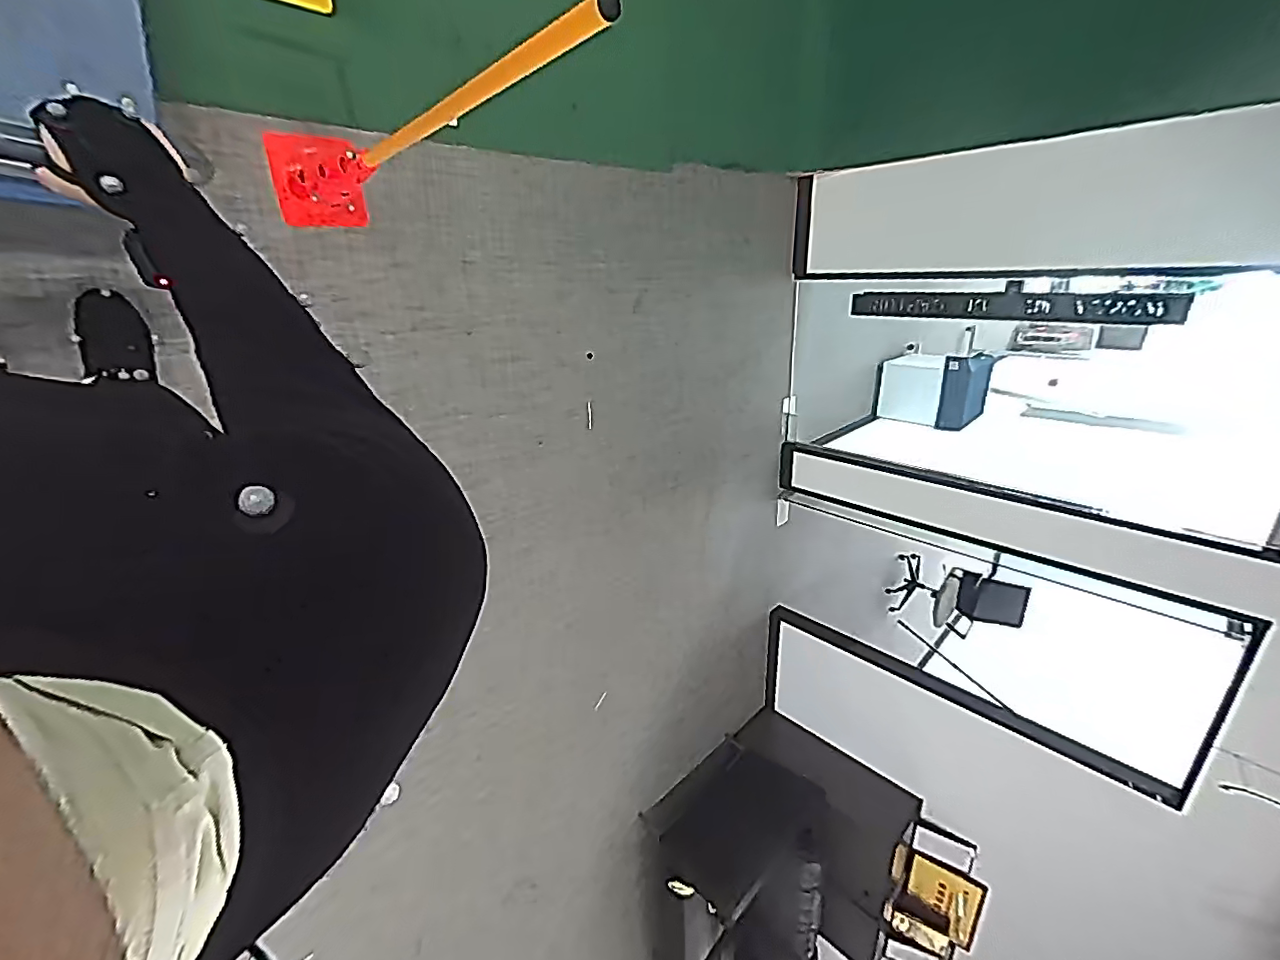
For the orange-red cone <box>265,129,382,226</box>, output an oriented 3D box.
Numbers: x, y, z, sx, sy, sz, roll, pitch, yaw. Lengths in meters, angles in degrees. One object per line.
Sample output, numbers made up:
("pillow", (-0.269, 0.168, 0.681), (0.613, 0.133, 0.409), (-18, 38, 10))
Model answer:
("orange-red cone", (-0.661, -0.691, 1.200), (0.198, 0.360, 0.199), (-21, 117, -40))
